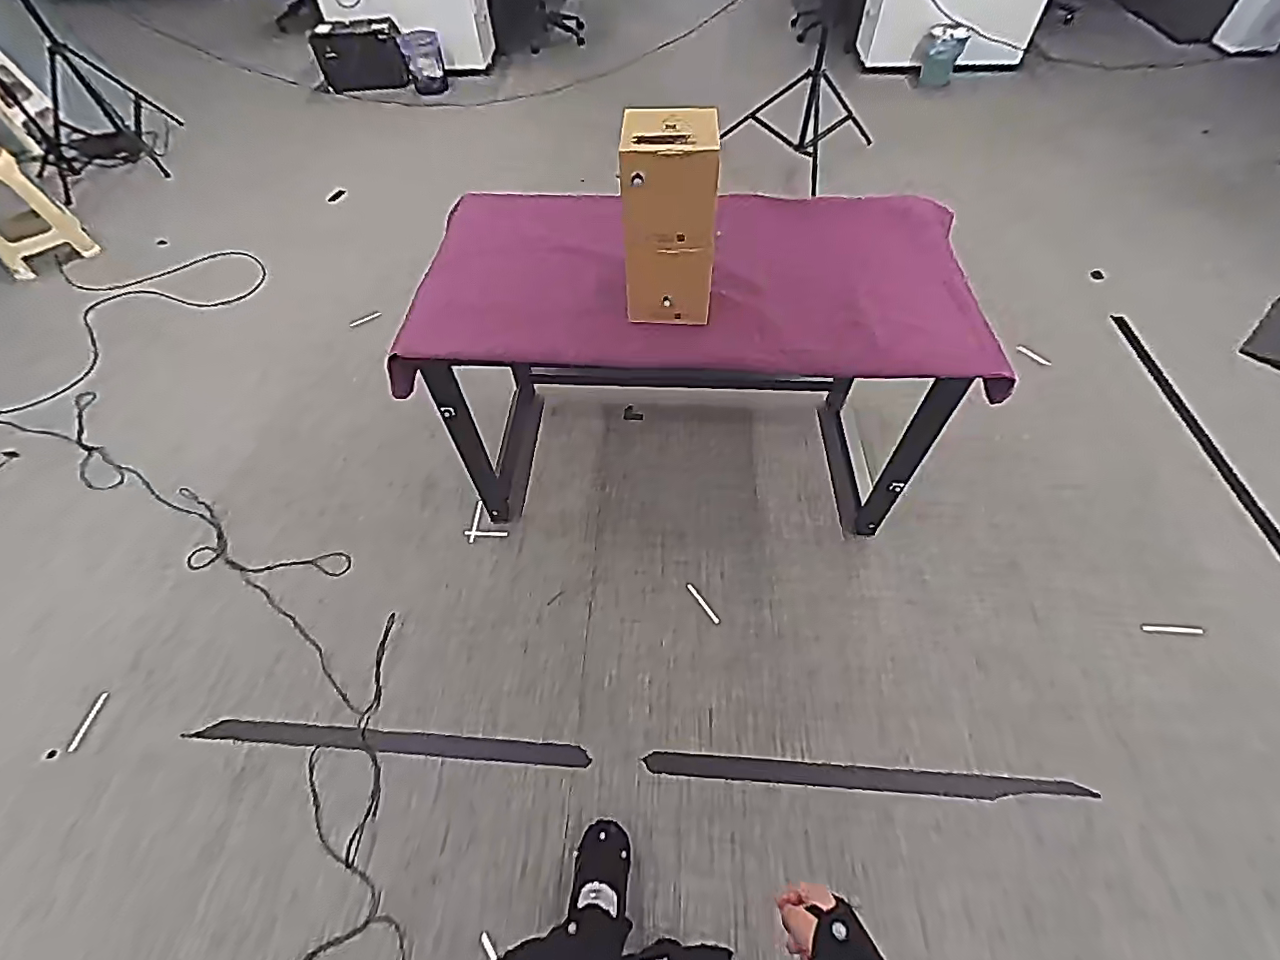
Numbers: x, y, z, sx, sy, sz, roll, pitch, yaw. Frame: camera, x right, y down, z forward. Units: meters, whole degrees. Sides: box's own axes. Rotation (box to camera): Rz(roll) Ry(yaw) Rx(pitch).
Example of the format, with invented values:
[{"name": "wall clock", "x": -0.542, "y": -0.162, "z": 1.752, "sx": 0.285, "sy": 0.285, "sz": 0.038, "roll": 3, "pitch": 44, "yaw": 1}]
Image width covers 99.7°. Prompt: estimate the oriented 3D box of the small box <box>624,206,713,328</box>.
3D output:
[{"name": "small box", "x": 0.059, "y": -0.439, "z": 1.114, "sx": 0.168, "sy": 0.176, "sz": 0.179, "roll": 3, "pitch": 54, "yaw": 5}]
